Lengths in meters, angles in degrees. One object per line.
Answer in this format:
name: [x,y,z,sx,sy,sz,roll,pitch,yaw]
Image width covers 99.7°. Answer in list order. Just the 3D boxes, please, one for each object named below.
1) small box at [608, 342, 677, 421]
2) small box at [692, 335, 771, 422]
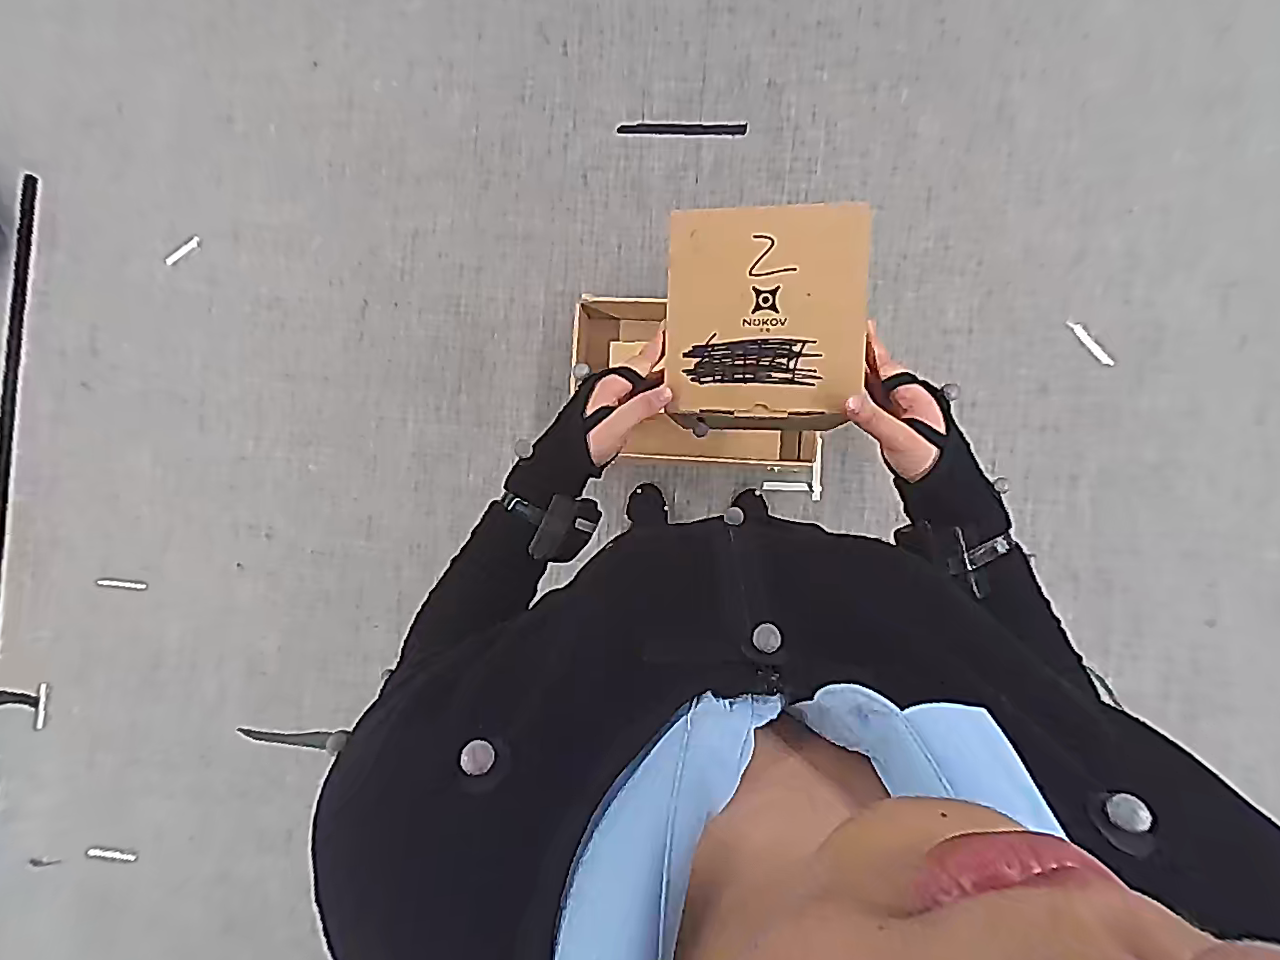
small box: [0.010,-0.246,1.391,0.168,0.176,0.179,2,89,2]
small box: [0.227,-0.253,1.379,0.168,0.176,0.179,9,90,5]
